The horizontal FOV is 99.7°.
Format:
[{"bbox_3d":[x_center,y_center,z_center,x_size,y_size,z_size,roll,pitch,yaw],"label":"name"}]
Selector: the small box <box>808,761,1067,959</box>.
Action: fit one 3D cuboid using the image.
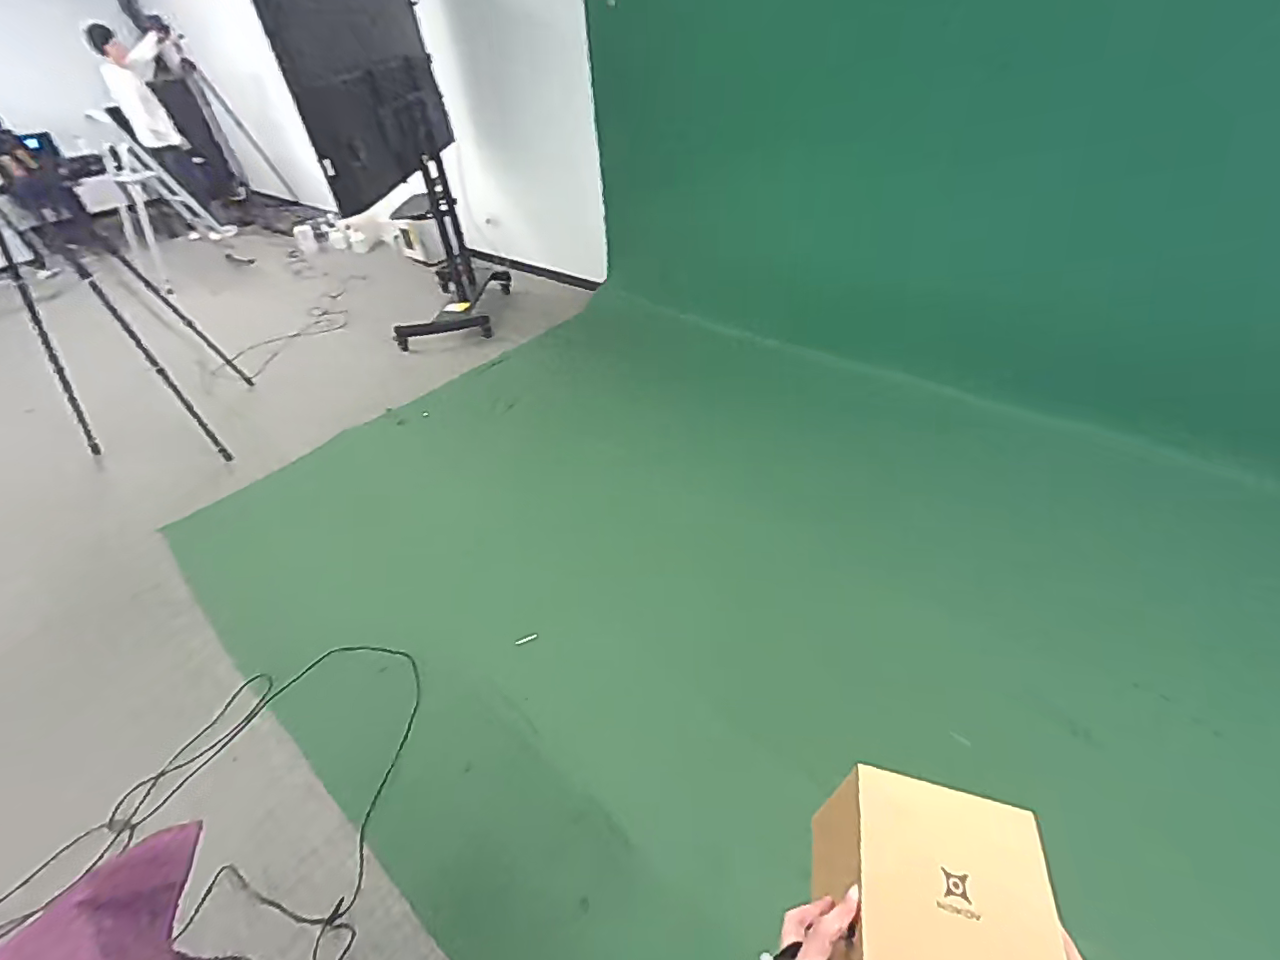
[{"bbox_3d":[0.266,0.410,0.519,0.168,0.176,0.179,12,45,9],"label":"small box"}]
